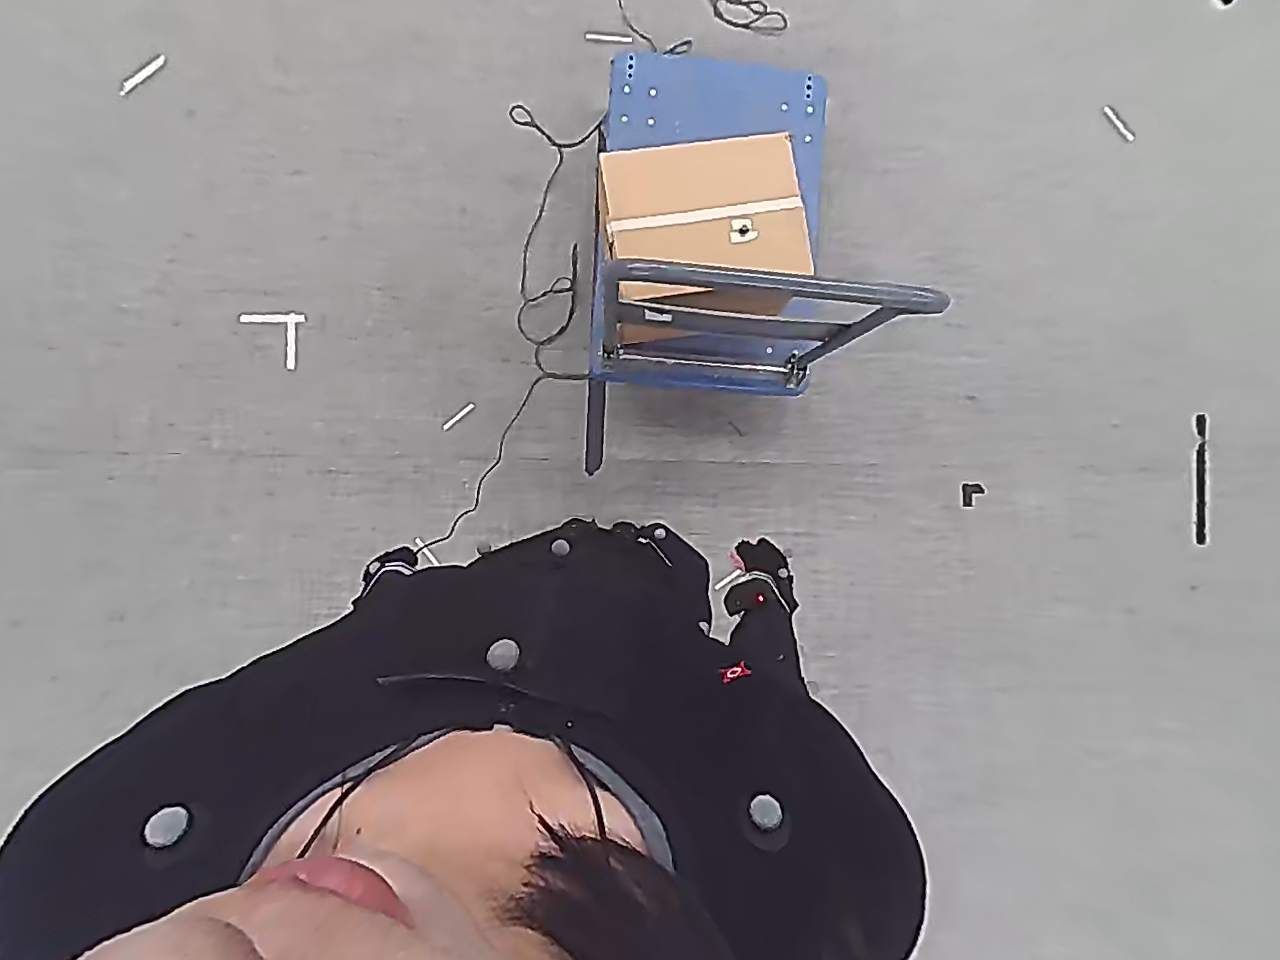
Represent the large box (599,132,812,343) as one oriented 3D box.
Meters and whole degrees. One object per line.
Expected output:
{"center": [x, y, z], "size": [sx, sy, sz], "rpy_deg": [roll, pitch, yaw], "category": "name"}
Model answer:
{"center": [0.126, -0.540, 1.261], "size": [0.408, 0.320, 0.320], "rpy_deg": [-9, 89, -5], "category": "large box"}
